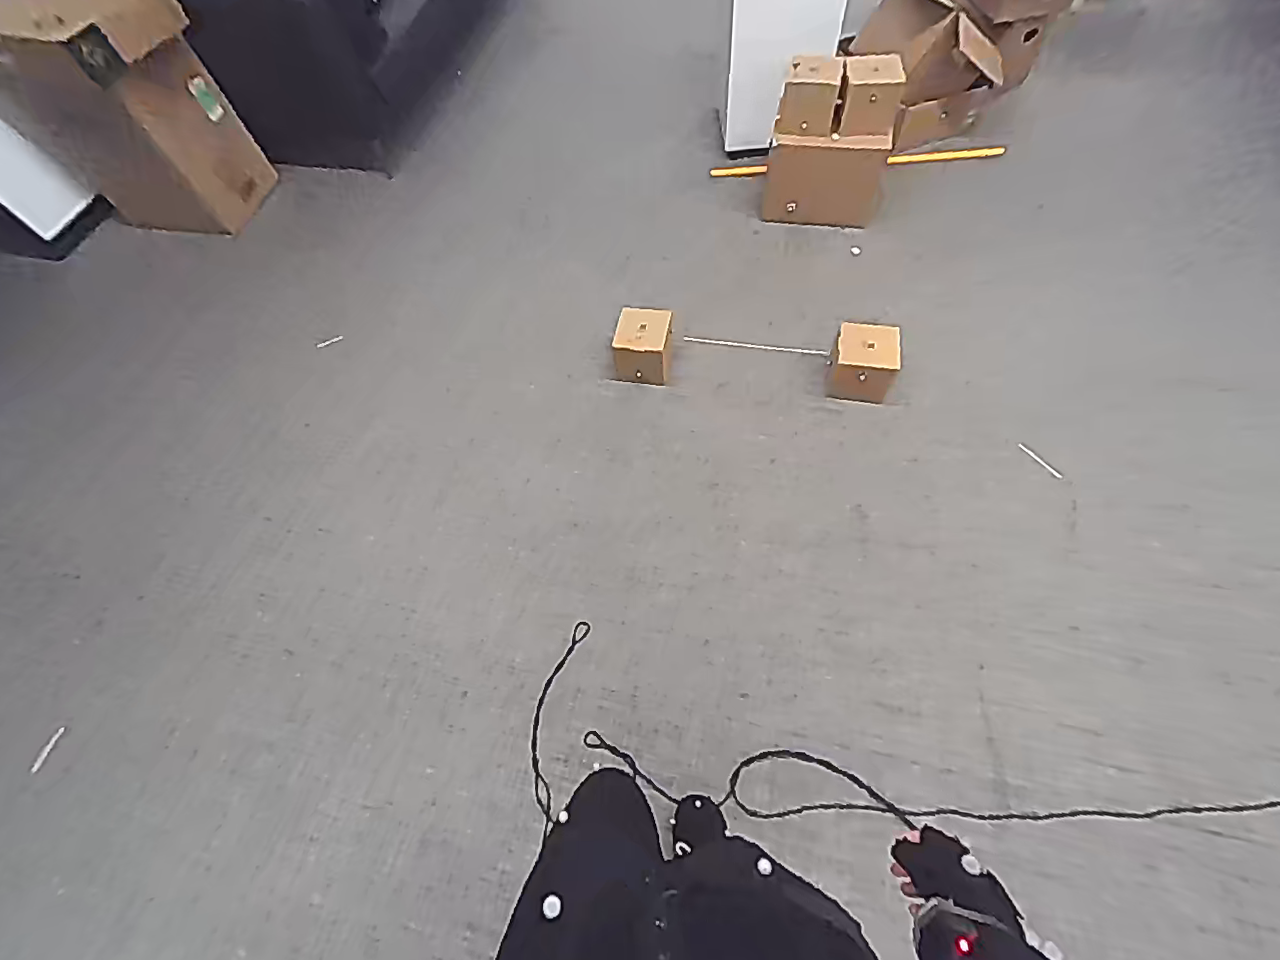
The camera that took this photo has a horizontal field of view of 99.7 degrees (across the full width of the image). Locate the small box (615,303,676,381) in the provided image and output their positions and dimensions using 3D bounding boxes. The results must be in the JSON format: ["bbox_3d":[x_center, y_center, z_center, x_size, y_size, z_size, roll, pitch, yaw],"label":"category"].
[{"bbox_3d":[0.022,-0.449,1.765,0.168,0.176,0.179,8,63,10],"label":"small box"}]

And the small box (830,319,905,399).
[{"bbox_3d":[0.694,-0.367,1.658,0.179,0.176,0.168,8,64,10],"label":"small box"}]
